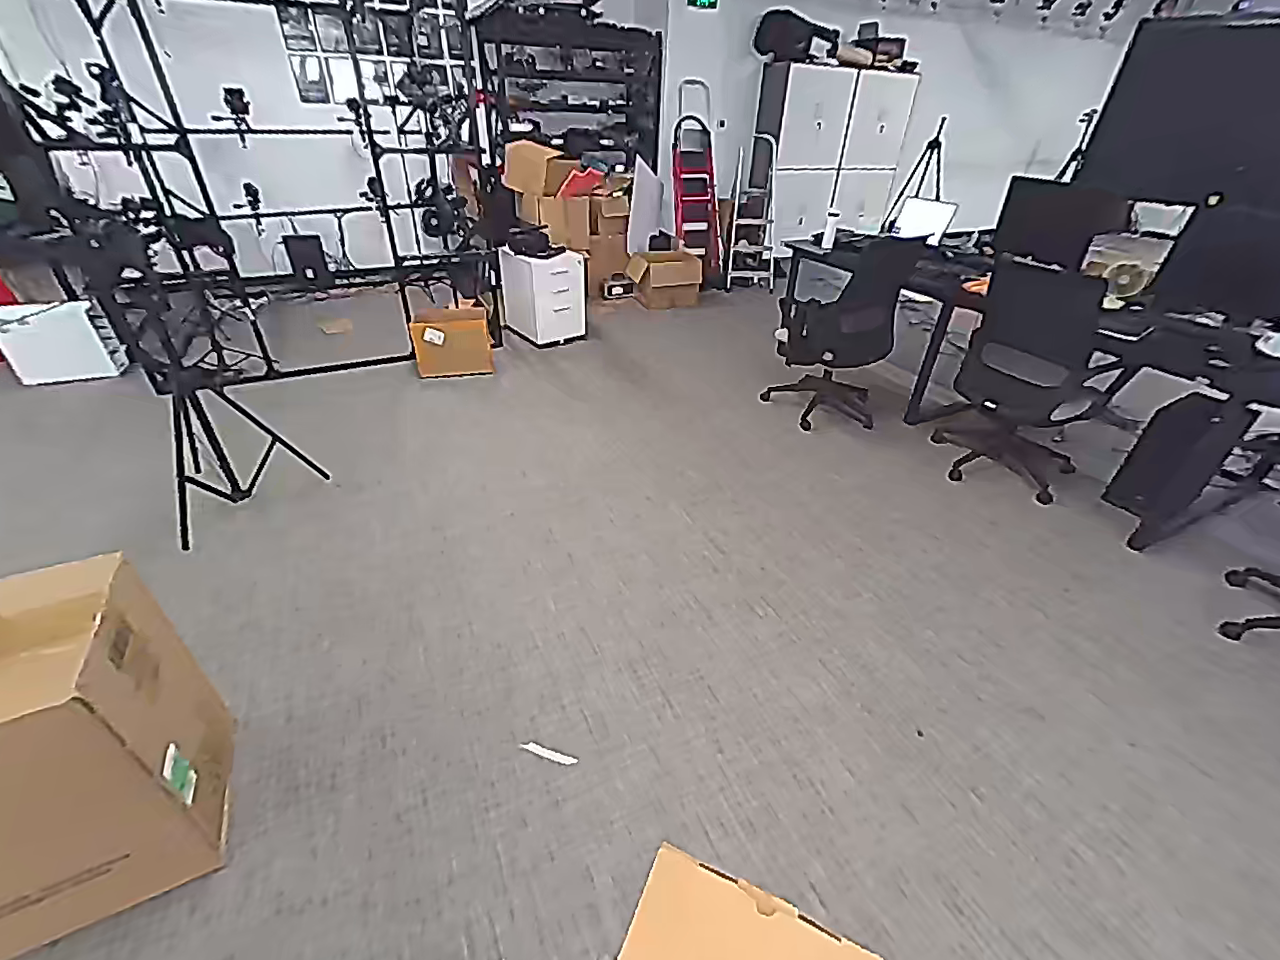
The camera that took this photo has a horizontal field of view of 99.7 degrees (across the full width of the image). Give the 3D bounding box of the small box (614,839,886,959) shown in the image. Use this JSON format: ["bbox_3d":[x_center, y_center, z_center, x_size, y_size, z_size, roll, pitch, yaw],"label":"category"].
[{"bbox_3d":[0.058,0.400,0.374,0.168,0.176,0.179,15,46,20],"label":"small box"}]
